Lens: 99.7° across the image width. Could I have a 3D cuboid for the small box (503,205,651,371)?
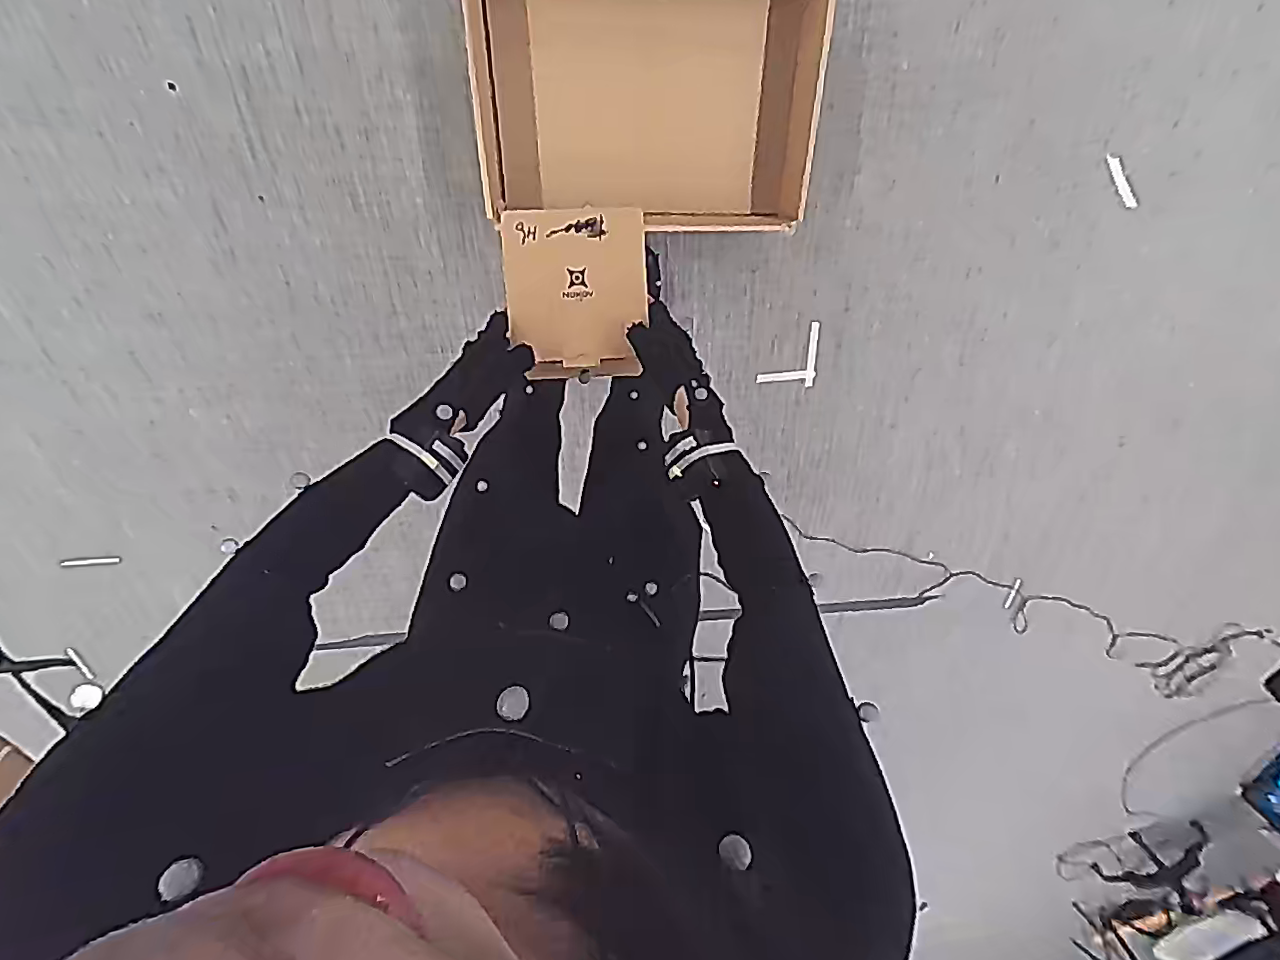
[{"bbox_3d":[-0.077,-0.235,0.703,0.168,0.176,0.179,-4,96,-5],"label":"small box"}]
